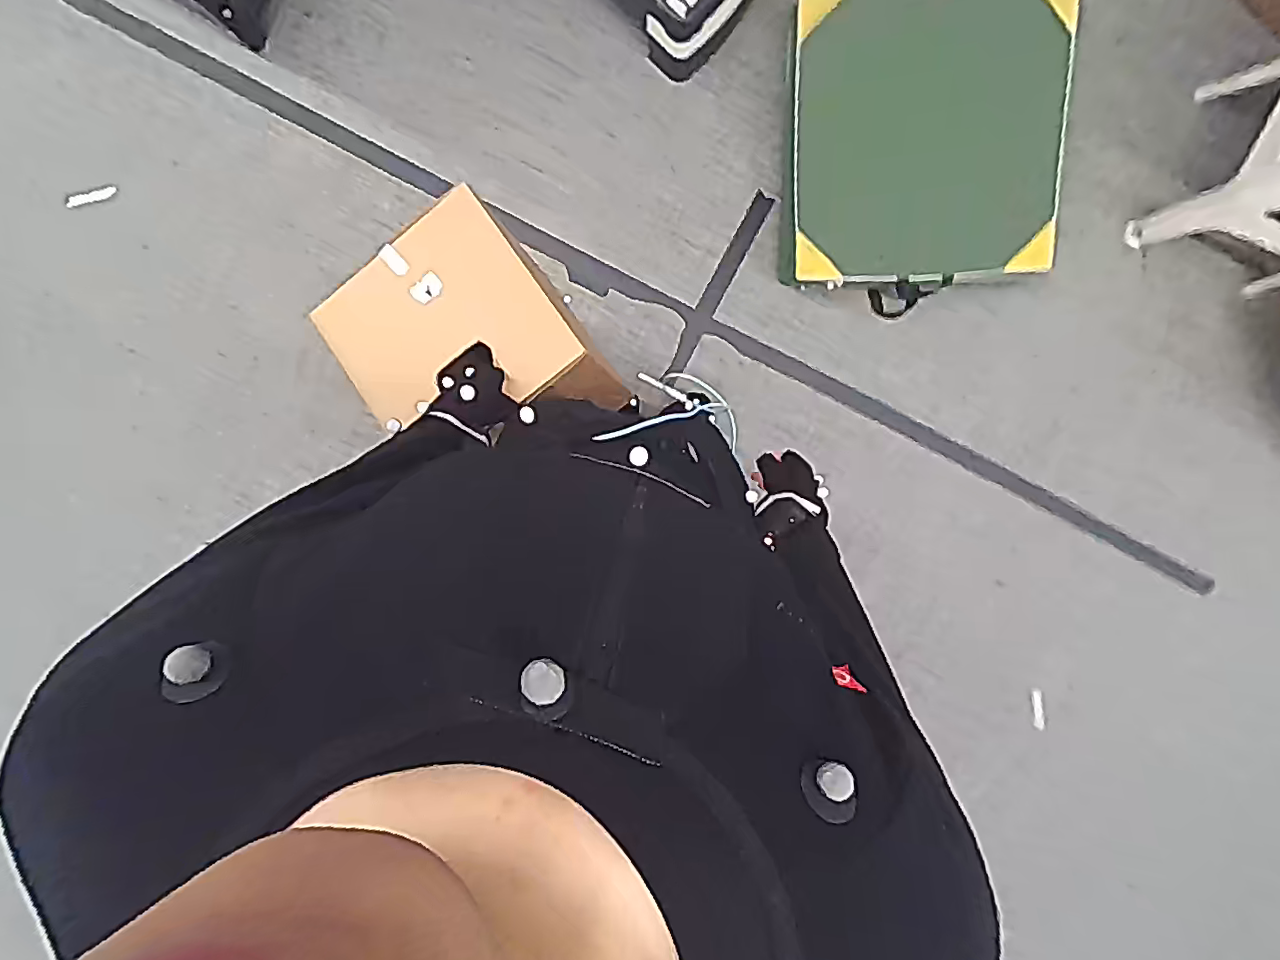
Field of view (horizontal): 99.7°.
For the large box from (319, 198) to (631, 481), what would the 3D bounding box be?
[{"bbox_3d":[-0.260,-0.213,0.984,0.320,0.408,0.320,-35,85,8],"label":"large box"}]
